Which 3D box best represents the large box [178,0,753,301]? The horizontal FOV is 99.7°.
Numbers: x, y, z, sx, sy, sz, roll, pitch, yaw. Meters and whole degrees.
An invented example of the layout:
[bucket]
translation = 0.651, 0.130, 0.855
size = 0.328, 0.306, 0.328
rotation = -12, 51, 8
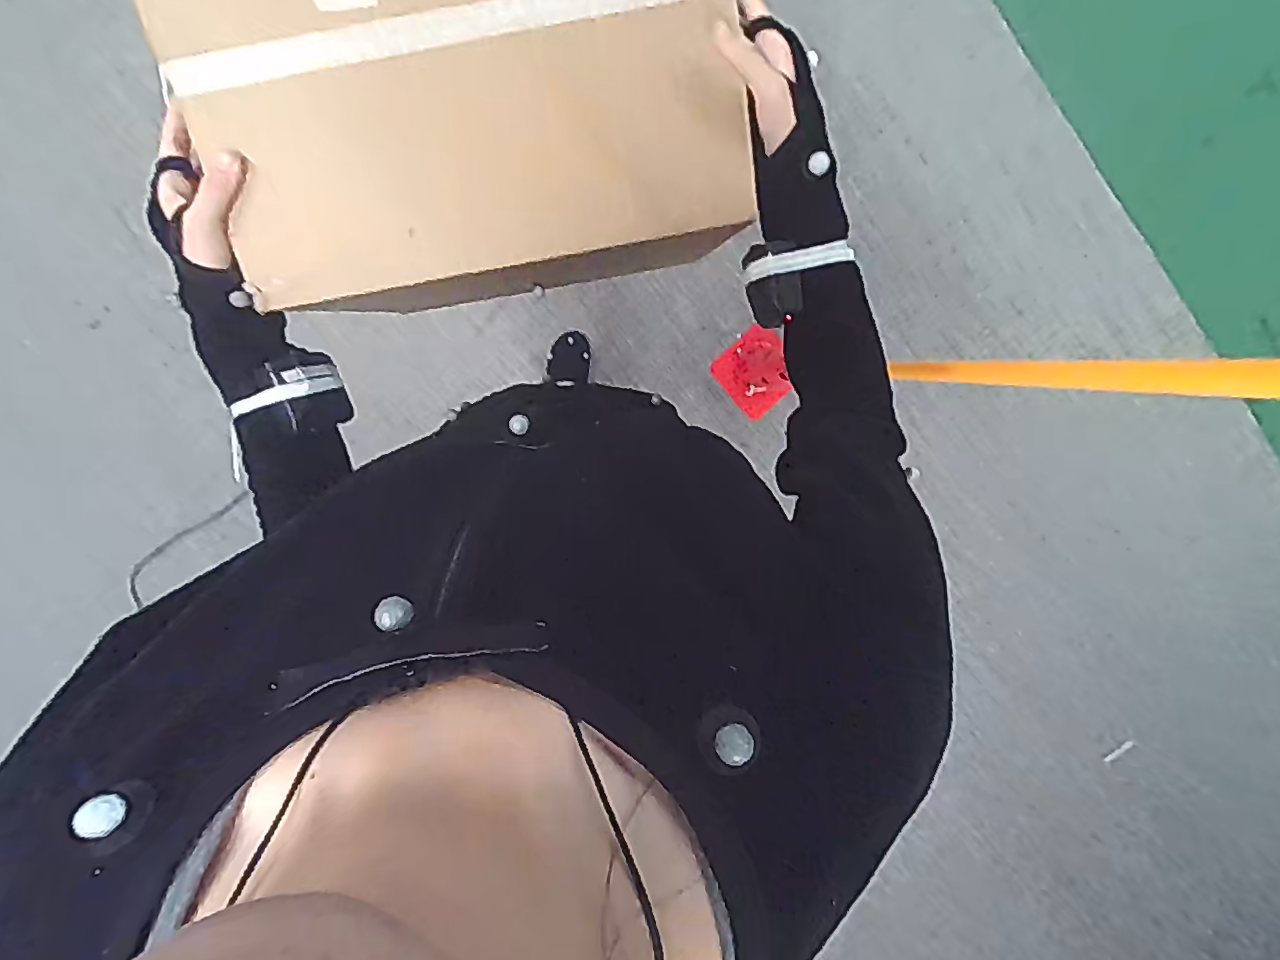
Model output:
[large box]
translation = -0.130, -0.371, 0.540
size = 0.408, 0.320, 0.320
rotation = -9, 107, 1
